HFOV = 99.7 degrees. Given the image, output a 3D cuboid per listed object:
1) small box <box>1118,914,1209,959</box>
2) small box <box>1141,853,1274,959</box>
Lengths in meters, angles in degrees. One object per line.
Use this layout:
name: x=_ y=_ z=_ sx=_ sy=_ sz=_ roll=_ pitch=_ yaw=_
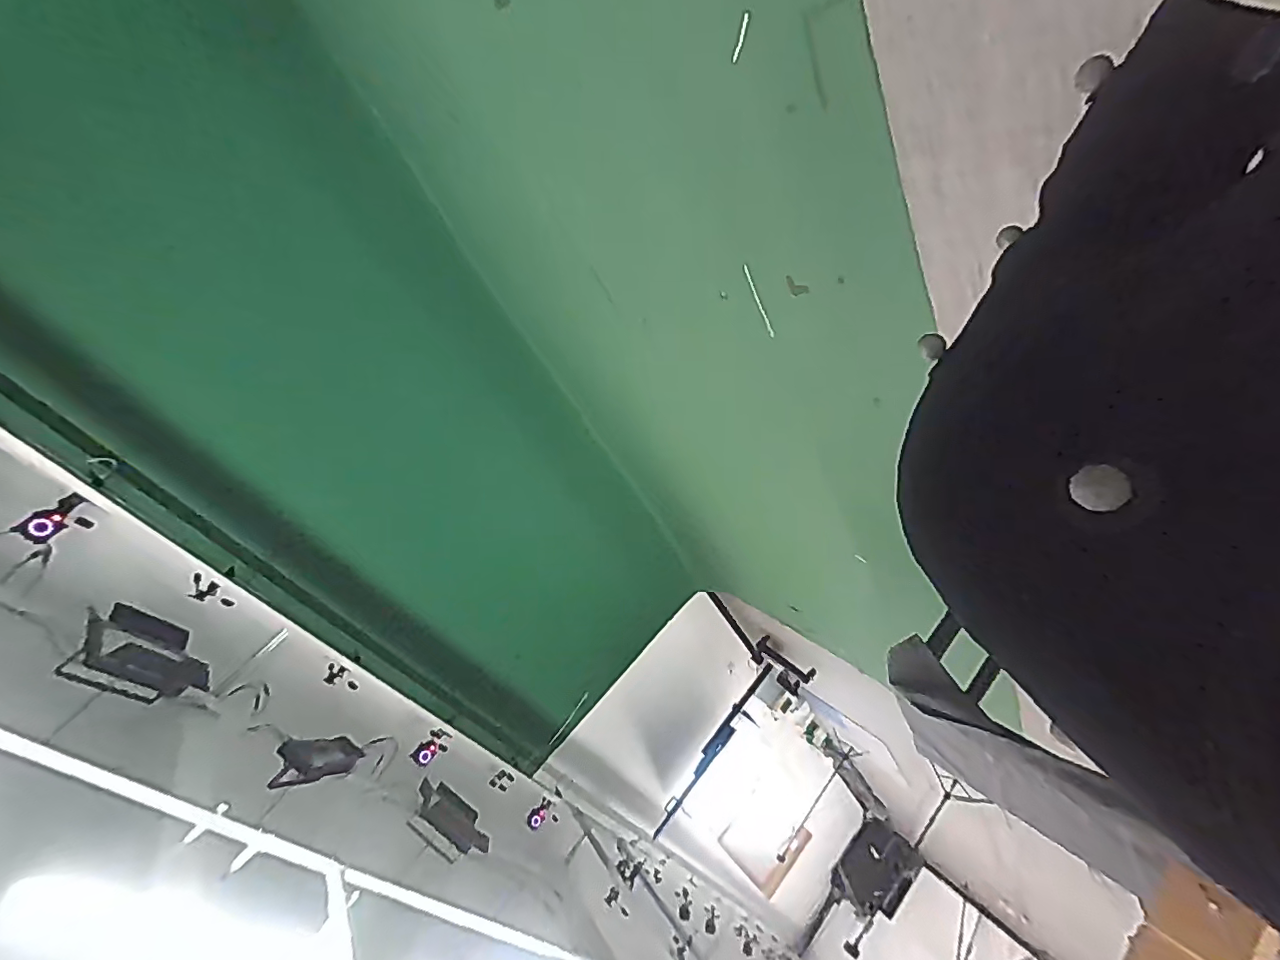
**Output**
small box: x=1.209 y=1.144 z=1.217 sx=0.168 sy=0.176 sz=0.179 roll=54 pitch=163 yaw=-27
small box: x=1.313 y=1.023 z=1.250 sx=0.179 sy=0.176 sz=0.168 roll=52 pitch=163 yaw=-24
